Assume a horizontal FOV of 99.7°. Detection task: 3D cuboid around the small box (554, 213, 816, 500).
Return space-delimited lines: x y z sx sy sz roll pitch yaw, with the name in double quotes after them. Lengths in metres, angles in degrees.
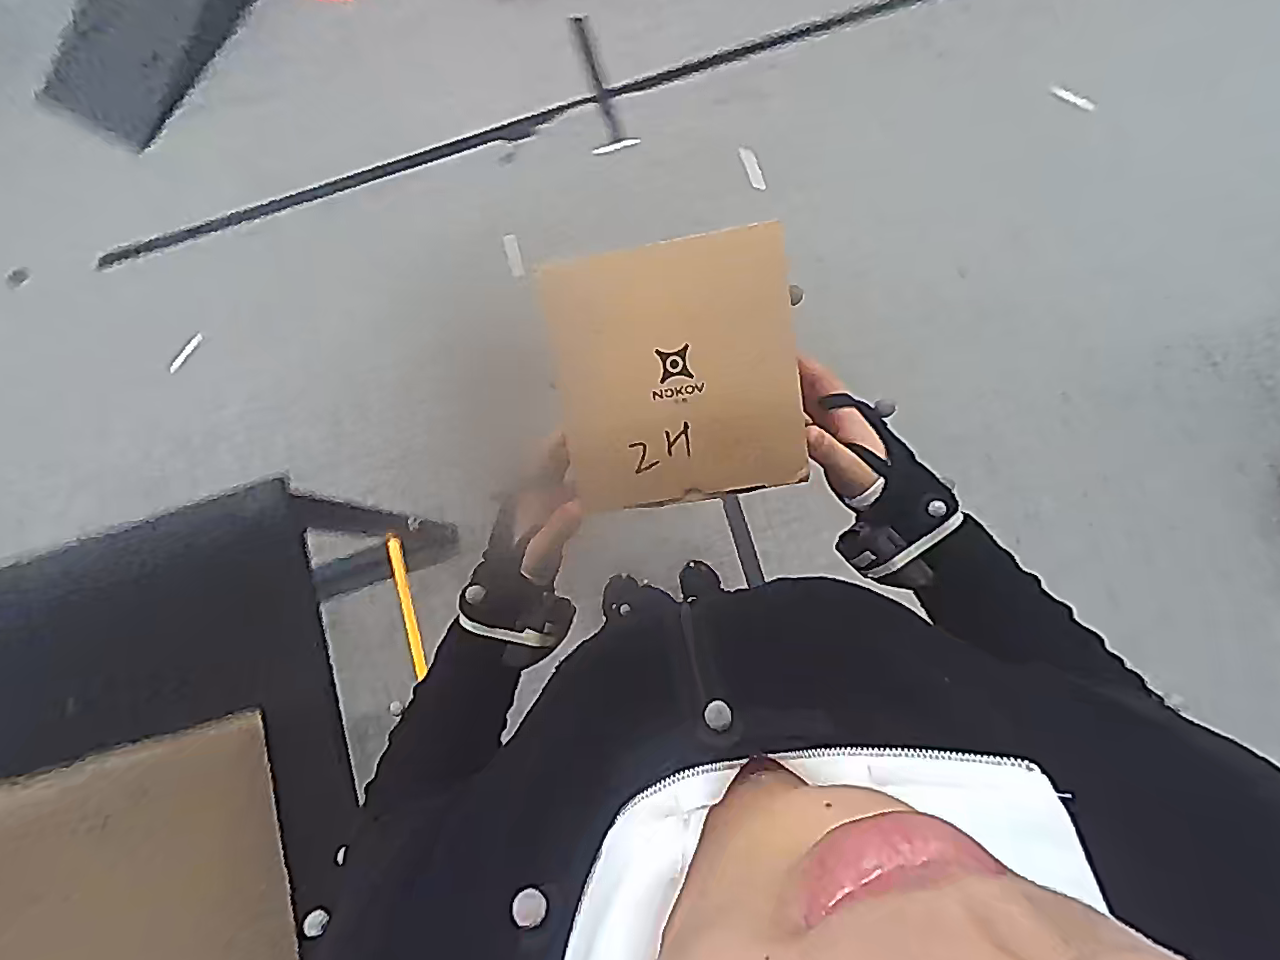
0.037 -0.093 0.444 0.168 0.176 0.179 -7 101 6 "small box"
